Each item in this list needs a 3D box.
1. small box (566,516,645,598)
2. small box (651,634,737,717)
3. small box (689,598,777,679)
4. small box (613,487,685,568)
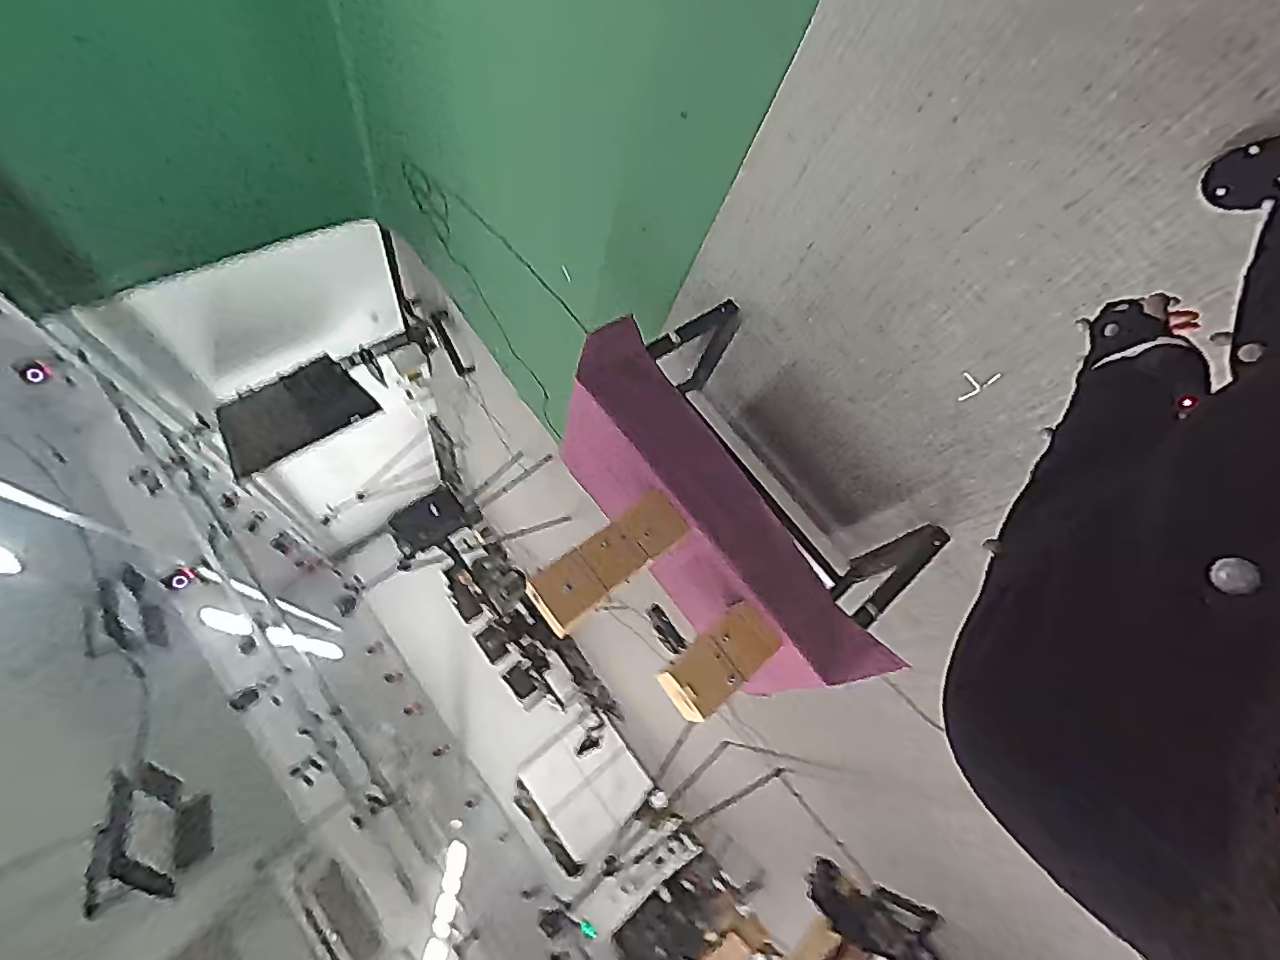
[{"bbox_3d":[-0.107,0.236,1.675,0.168,0.176,0.179,52,156,10],"label":"small box"},{"bbox_3d":[0.163,0.576,1.604,0.168,0.176,0.179,52,157,10],"label":"small box"},{"bbox_3d":[0.288,0.492,1.669,0.179,0.176,0.168,52,156,10],"label":"small box"},{"bbox_3d":[0.018,0.151,1.736,0.179,0.176,0.168,52,155,8],"label":"small box"}]
